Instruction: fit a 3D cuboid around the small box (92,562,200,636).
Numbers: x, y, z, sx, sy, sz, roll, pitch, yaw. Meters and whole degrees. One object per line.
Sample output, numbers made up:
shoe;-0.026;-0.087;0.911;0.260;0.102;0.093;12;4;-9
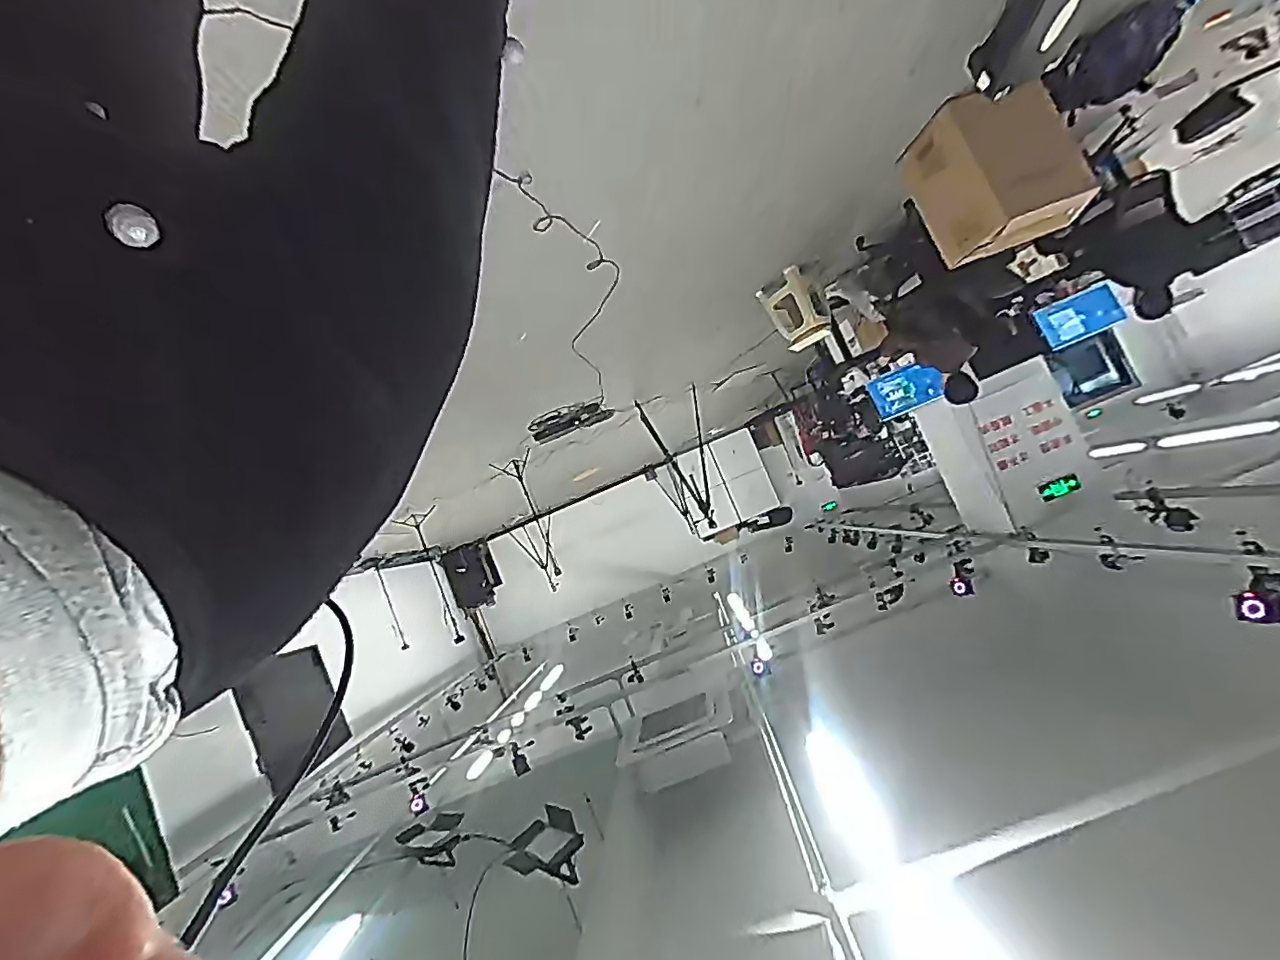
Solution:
small box;-1.560;0.368;1.707;0.168;0.176;0.179;-23;174;2

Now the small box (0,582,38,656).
small box;-1.616;0.349;1.279;0.168;0.176;0.179;-24;174;-3
